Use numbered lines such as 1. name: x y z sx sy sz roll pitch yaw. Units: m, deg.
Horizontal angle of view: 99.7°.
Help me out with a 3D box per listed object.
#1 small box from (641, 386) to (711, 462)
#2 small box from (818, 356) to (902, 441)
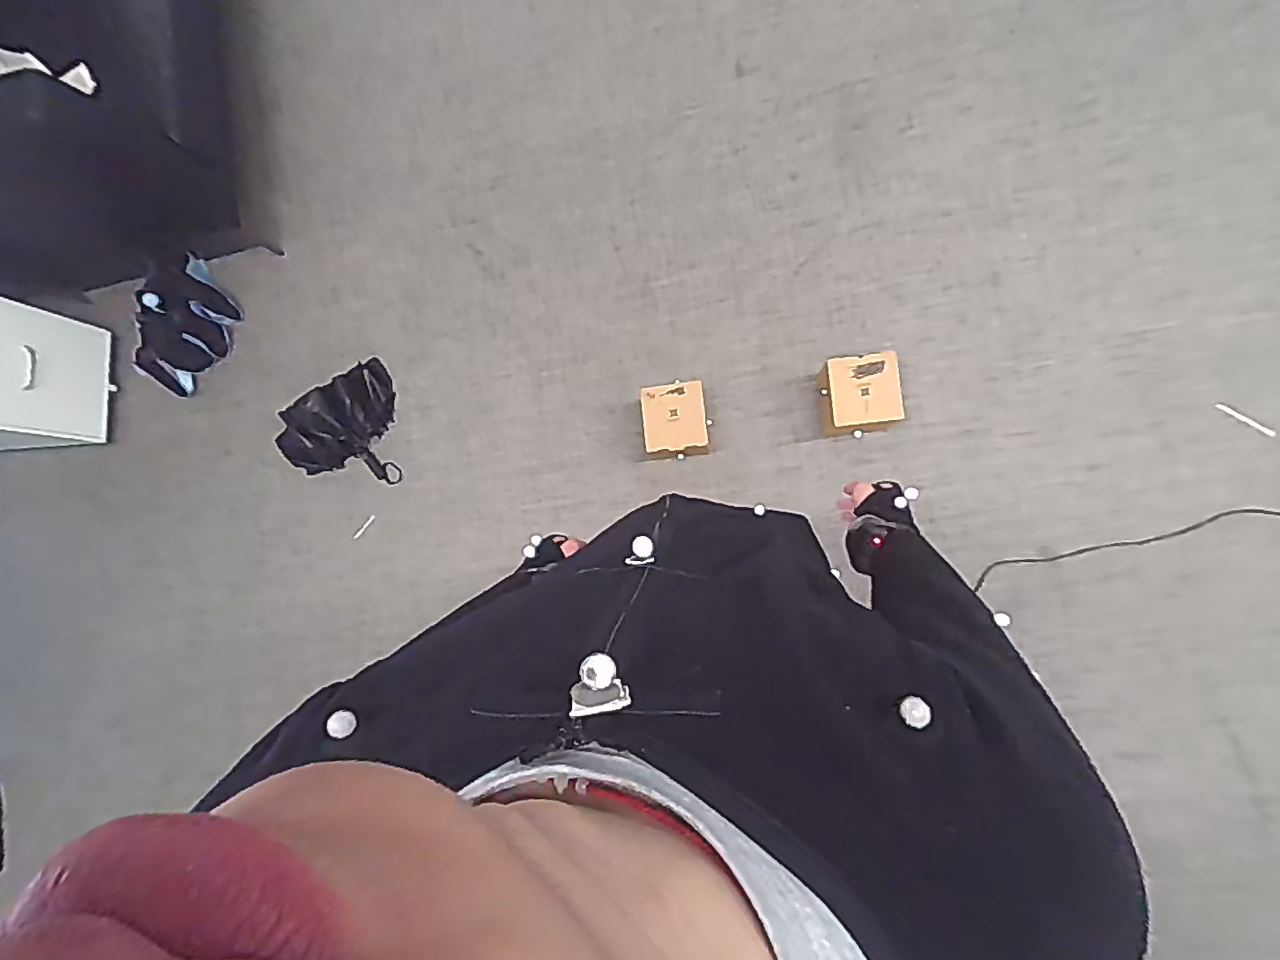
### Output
1. small box: 0.103 -0.147 1.500 0.168 0.176 0.179 -6 84 10
2. small box: 0.569 -0.208 1.420 0.168 0.176 0.179 -6 85 10
